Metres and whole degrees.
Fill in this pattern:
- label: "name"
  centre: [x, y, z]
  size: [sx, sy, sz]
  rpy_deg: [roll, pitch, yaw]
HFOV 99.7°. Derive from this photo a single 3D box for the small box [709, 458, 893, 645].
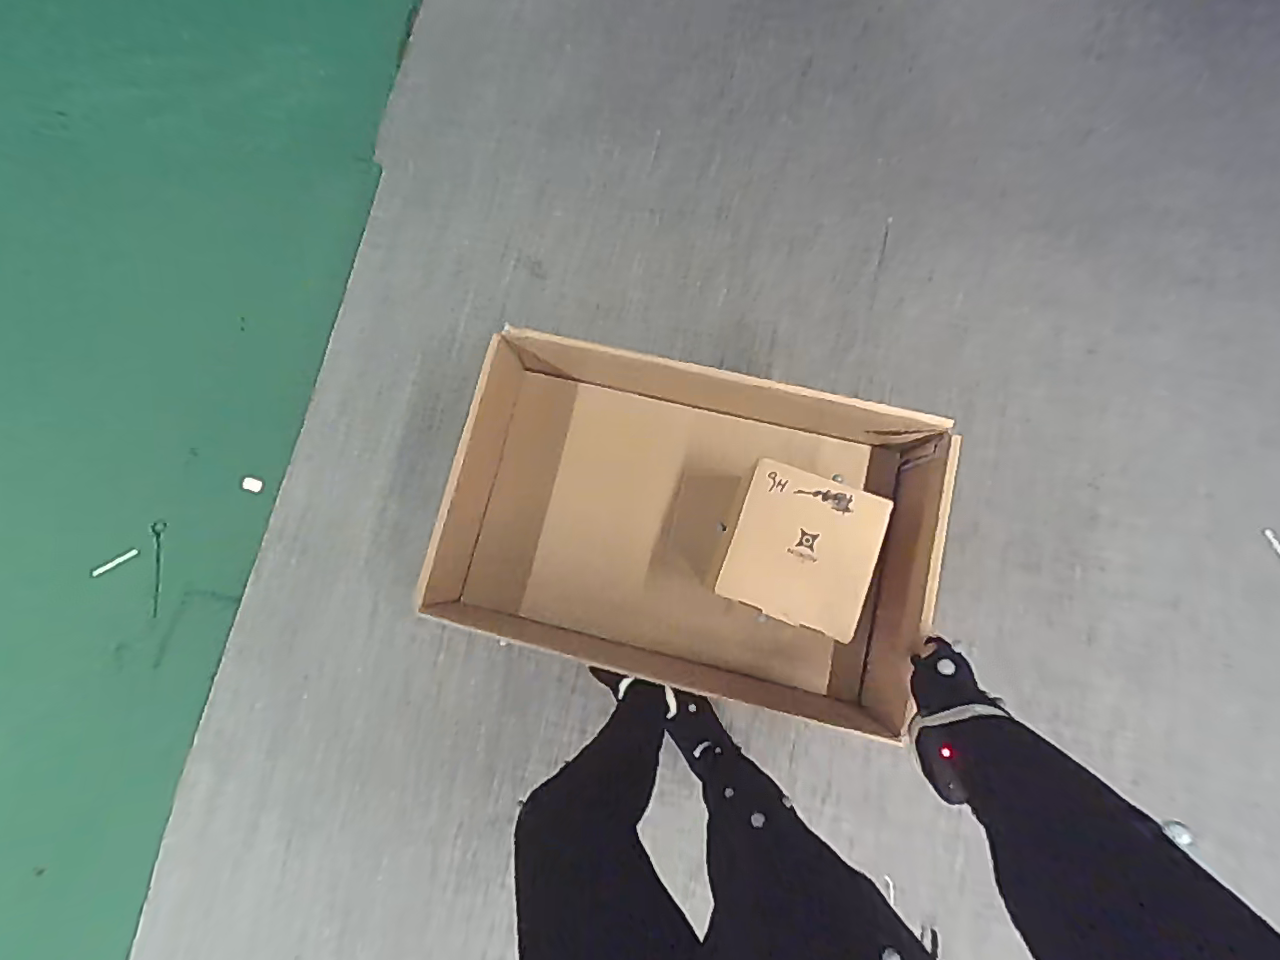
- label: "small box"
  centre: [0.195, 0.091, 0.710]
  size: [0.168, 0.176, 0.179]
  rpy_deg: [20, 84, 5]
